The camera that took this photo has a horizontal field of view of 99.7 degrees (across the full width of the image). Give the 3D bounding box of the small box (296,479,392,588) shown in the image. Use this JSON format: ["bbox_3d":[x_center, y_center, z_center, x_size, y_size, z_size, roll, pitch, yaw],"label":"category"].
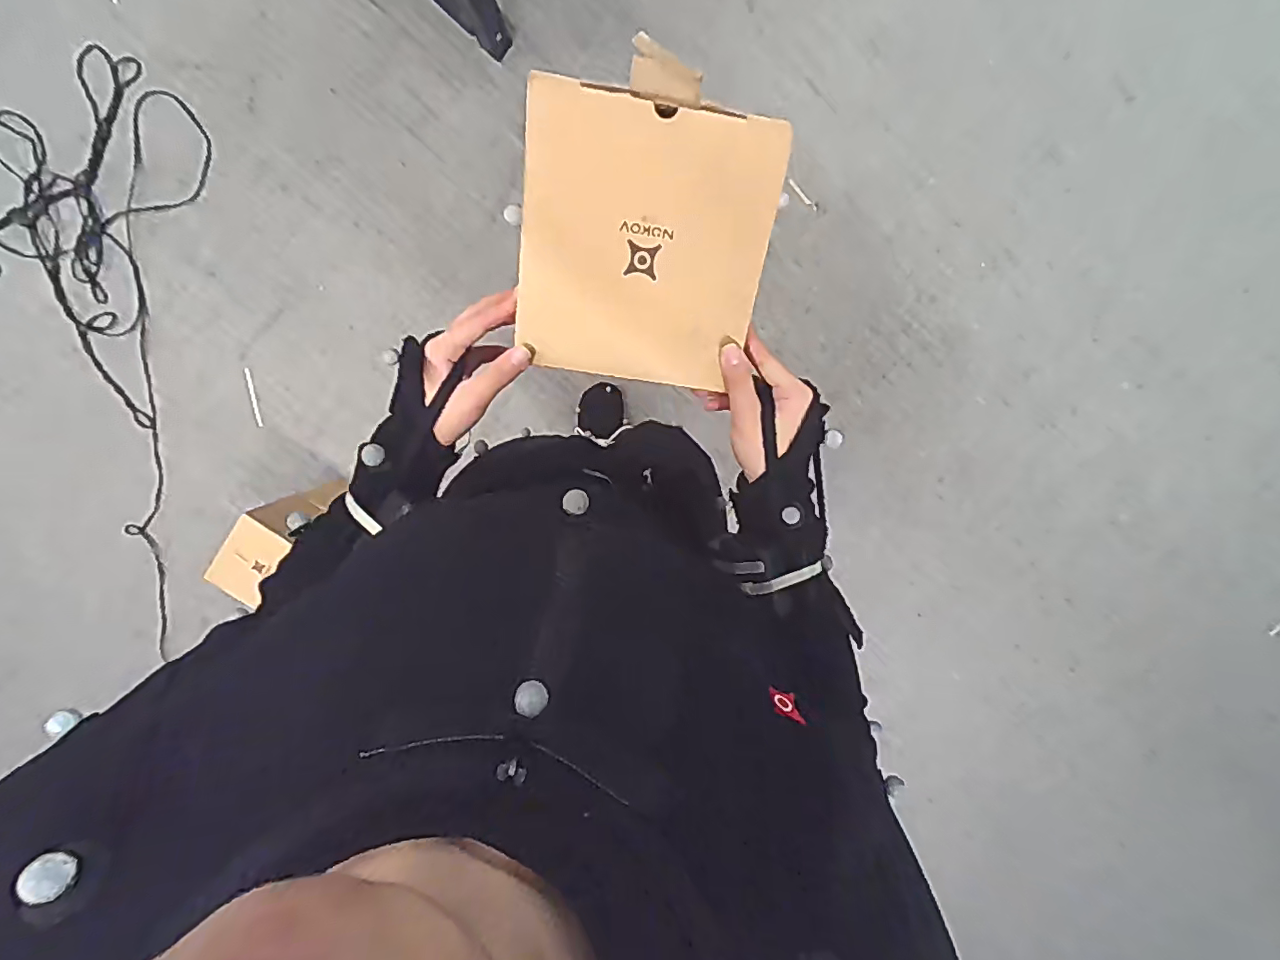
[{"bbox_3d":[-0.731,0.122,1.295,0.168,0.176,0.179,31,100,-7],"label":"small box"}]

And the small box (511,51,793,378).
[{"bbox_3d":[-0.001,-0.198,0.428,0.168,0.176,0.179,7,116,-6],"label":"small box"}]

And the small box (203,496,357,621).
[{"bbox_3d":[-0.740,0.154,1.133,0.179,0.176,0.168,36,99,-7],"label":"small box"}]
